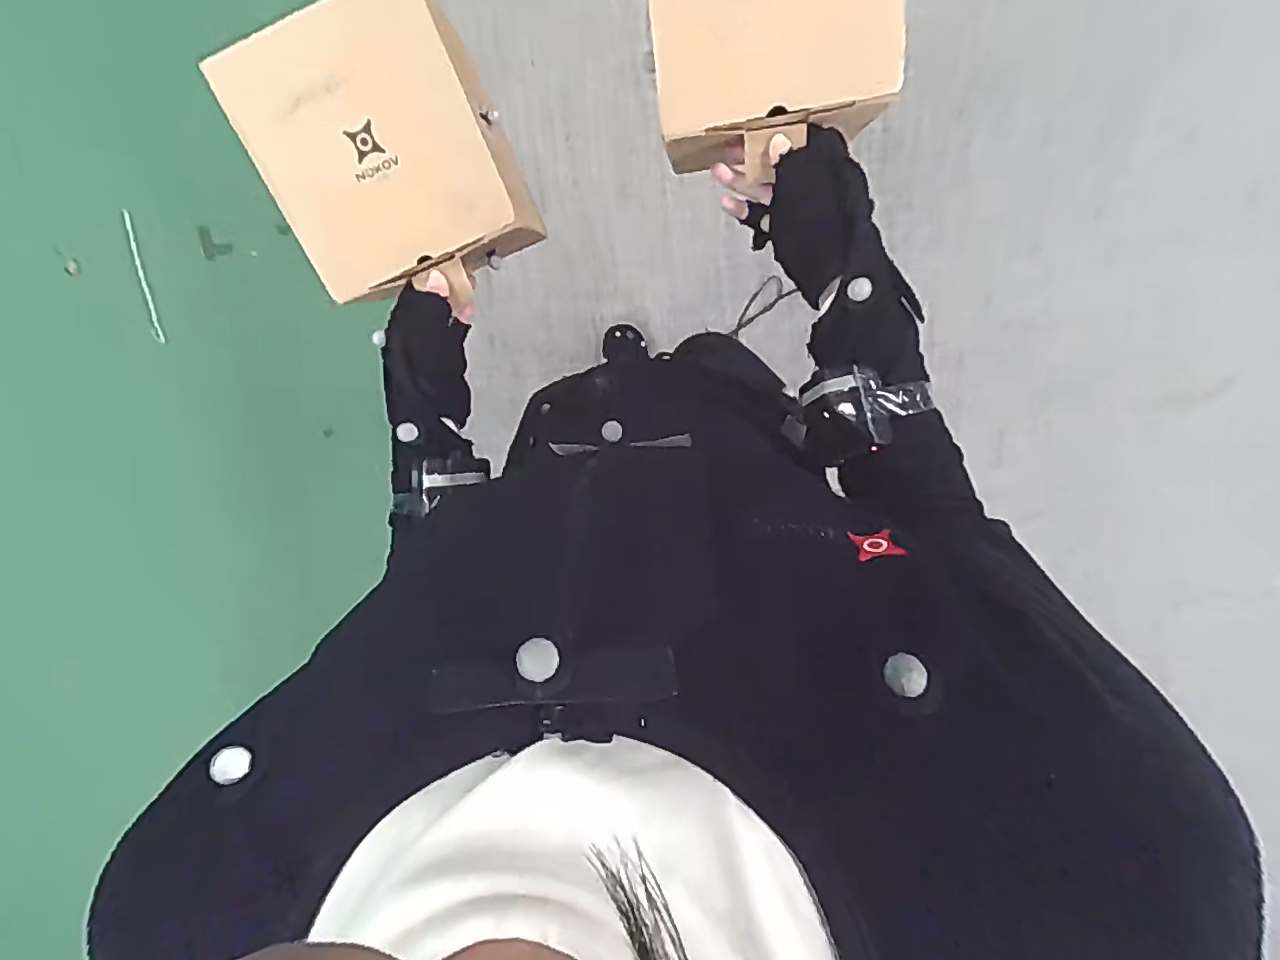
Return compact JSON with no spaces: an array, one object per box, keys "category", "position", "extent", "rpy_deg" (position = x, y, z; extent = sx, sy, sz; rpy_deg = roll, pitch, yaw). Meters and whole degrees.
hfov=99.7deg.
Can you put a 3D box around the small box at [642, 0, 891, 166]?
[{"category":"small box","position":[0.093,-0.363,0.430],"extent":[0.168,0.176,0.179],"rpy_deg":[-4,112,9]}]

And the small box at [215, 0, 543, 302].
[{"category":"small box","position":[-0.202,-0.277,0.483],"extent":[0.168,0.176,0.179],"rpy_deg":[-21,109,6]}]
